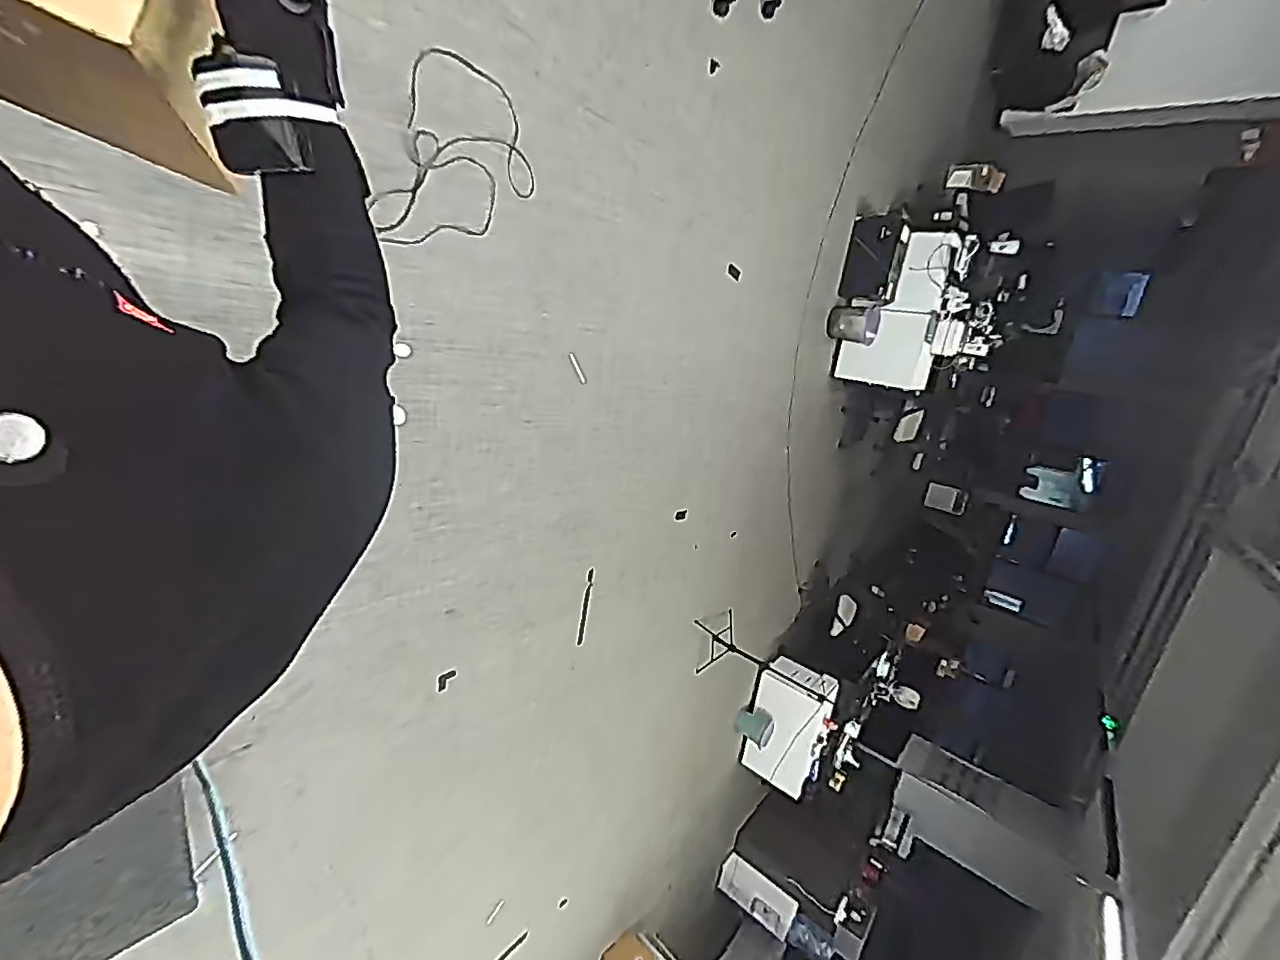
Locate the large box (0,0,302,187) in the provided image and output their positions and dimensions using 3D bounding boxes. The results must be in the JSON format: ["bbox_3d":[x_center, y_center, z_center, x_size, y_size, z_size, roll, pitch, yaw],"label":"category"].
[{"bbox_3d":[-0.499,-0.489,0.375,0.408,0.320,0.320,17,92,-27],"label":"large box"}]
